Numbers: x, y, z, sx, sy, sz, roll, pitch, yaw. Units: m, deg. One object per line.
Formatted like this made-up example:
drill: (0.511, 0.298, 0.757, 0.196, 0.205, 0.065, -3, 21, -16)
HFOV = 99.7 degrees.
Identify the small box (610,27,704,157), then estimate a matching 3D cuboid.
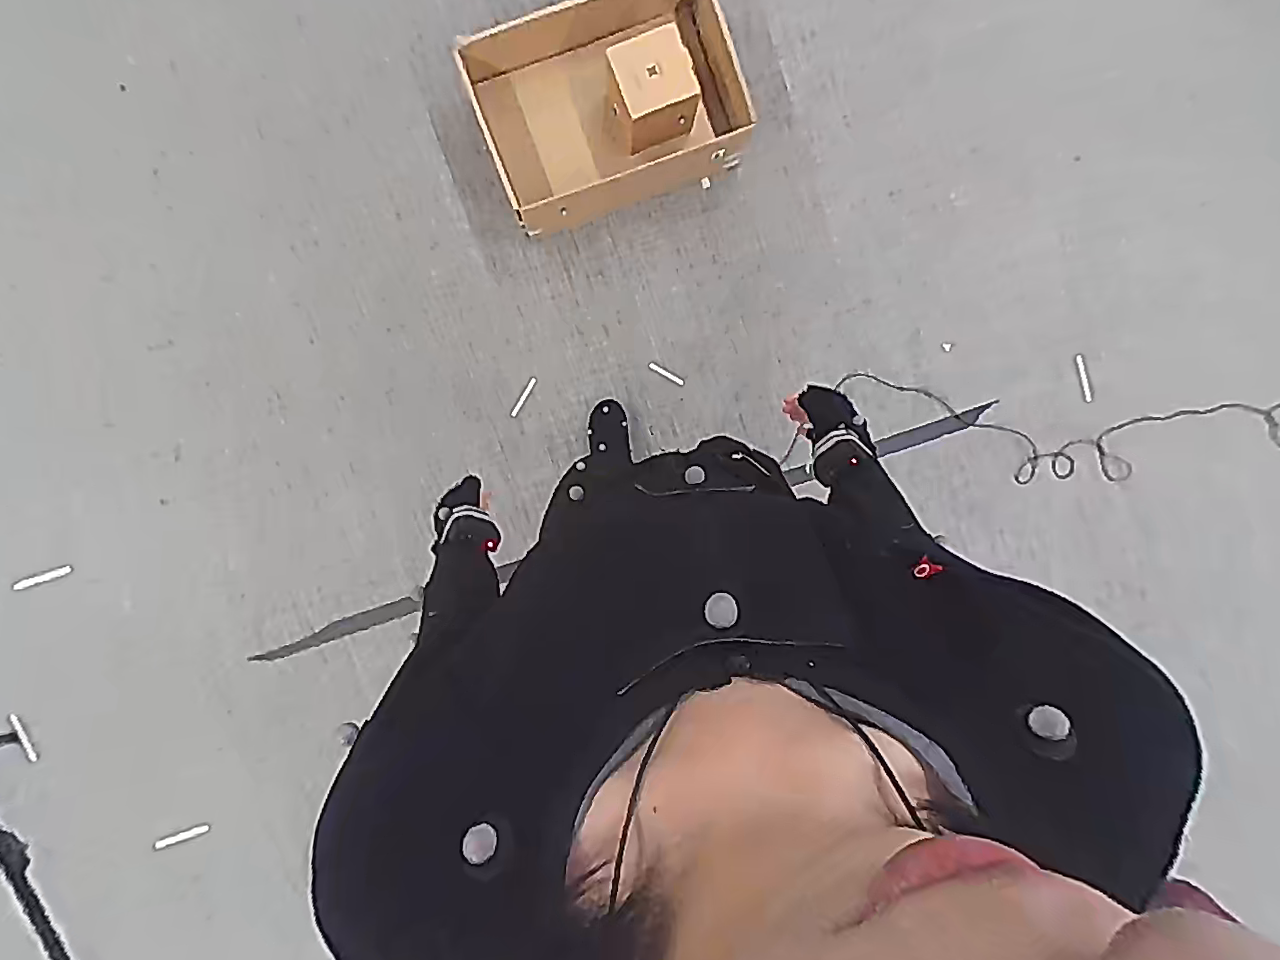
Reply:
small box: (0.034, -0.932, 1.316, 0.179, 0.176, 0.168, -23, 95, 0)
